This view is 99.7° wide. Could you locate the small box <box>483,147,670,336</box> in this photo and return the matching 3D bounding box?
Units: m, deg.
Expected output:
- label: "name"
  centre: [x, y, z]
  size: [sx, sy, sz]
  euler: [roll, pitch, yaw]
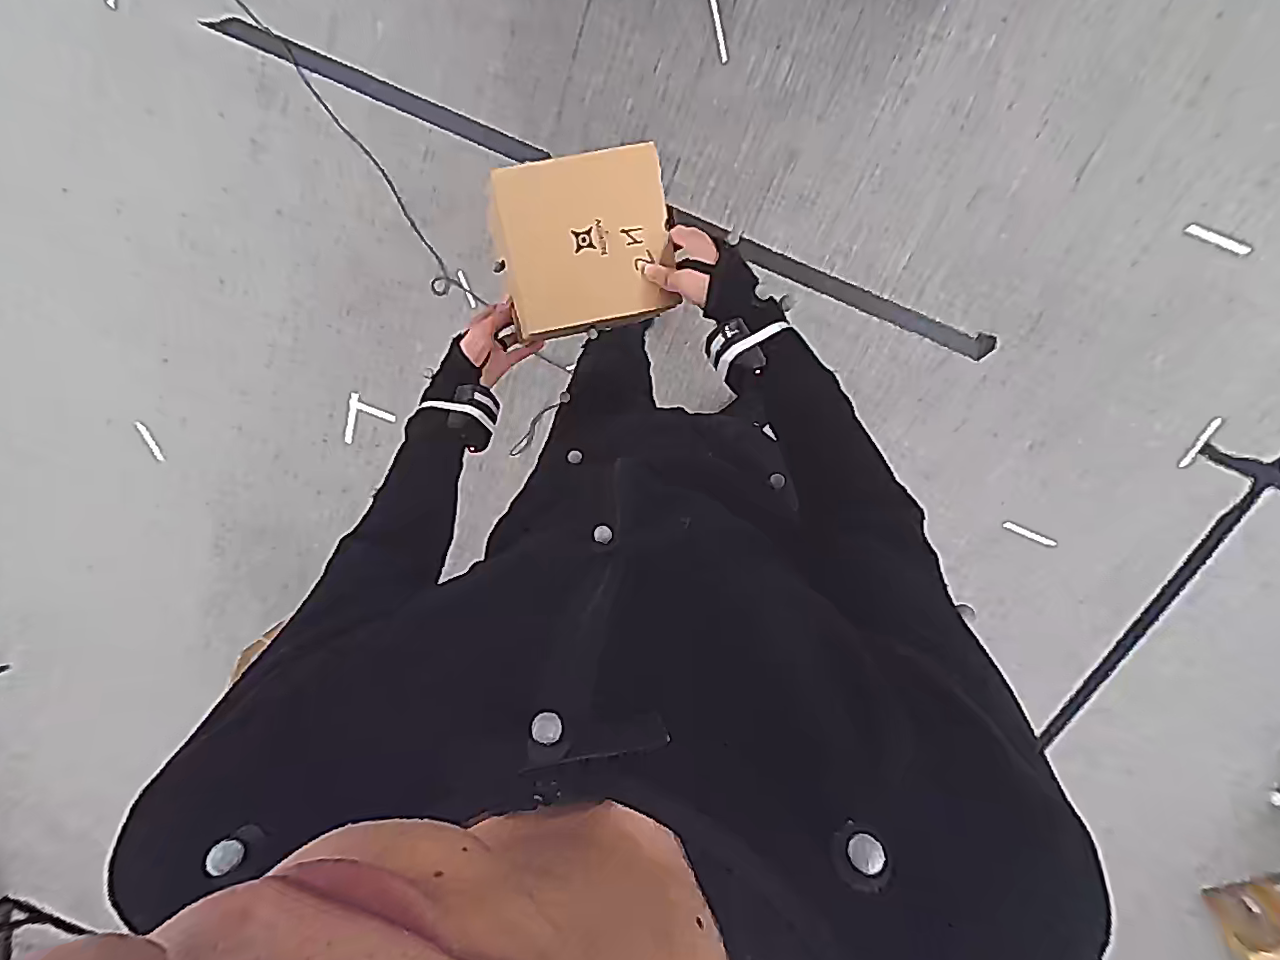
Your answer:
- label: "small box"
  centre: [-0.083, -0.275, 0.653]
  size: [0.179, 0.176, 0.168]
  euler: [-15, 105, -14]
